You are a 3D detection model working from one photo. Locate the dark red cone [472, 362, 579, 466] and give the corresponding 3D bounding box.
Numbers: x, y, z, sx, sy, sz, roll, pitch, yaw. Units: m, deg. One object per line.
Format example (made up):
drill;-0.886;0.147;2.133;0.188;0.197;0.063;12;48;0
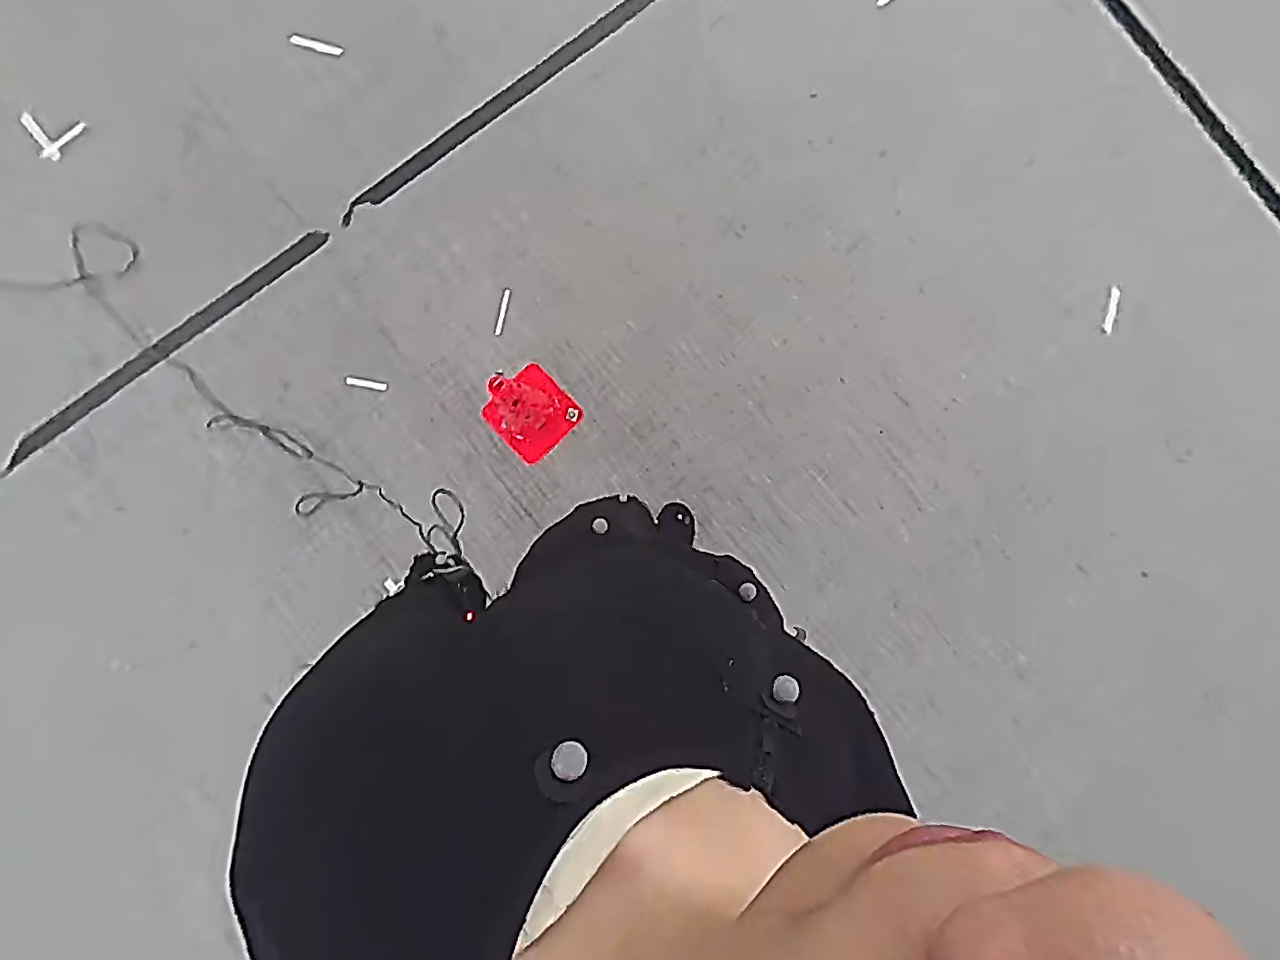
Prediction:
dark red cone;-0.280;-0.169;1.175;0.202;0.394;0.201;-45;88;-1
